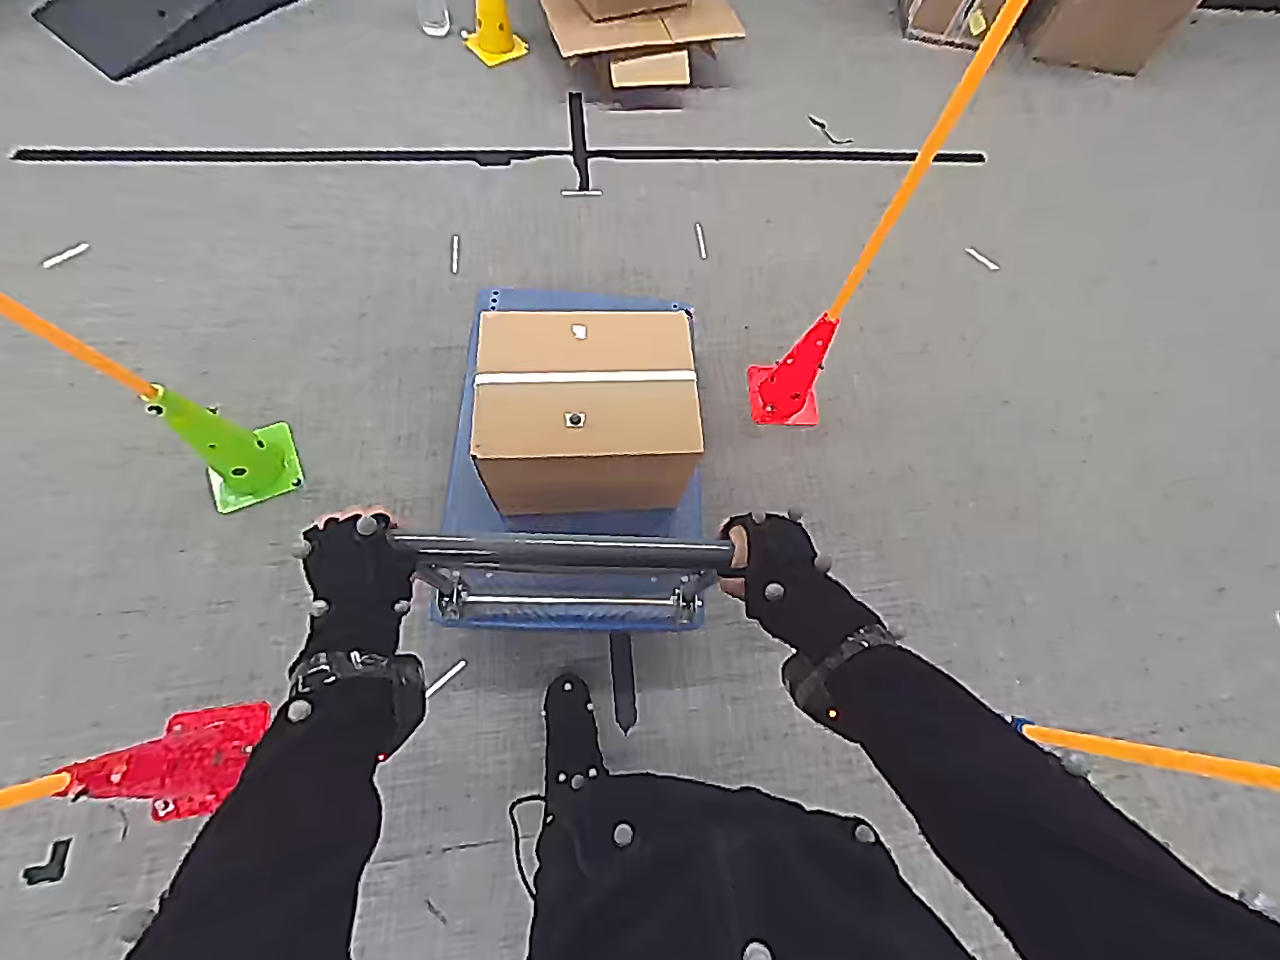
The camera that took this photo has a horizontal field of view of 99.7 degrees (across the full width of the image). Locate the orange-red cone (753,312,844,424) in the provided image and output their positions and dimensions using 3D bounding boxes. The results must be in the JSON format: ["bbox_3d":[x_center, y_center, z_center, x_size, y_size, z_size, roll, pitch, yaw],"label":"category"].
[{"bbox_3d":[0.452,-0.320,1.443,0.199,0.360,0.198,3,68,-6],"label":"orange-red cone"}]
